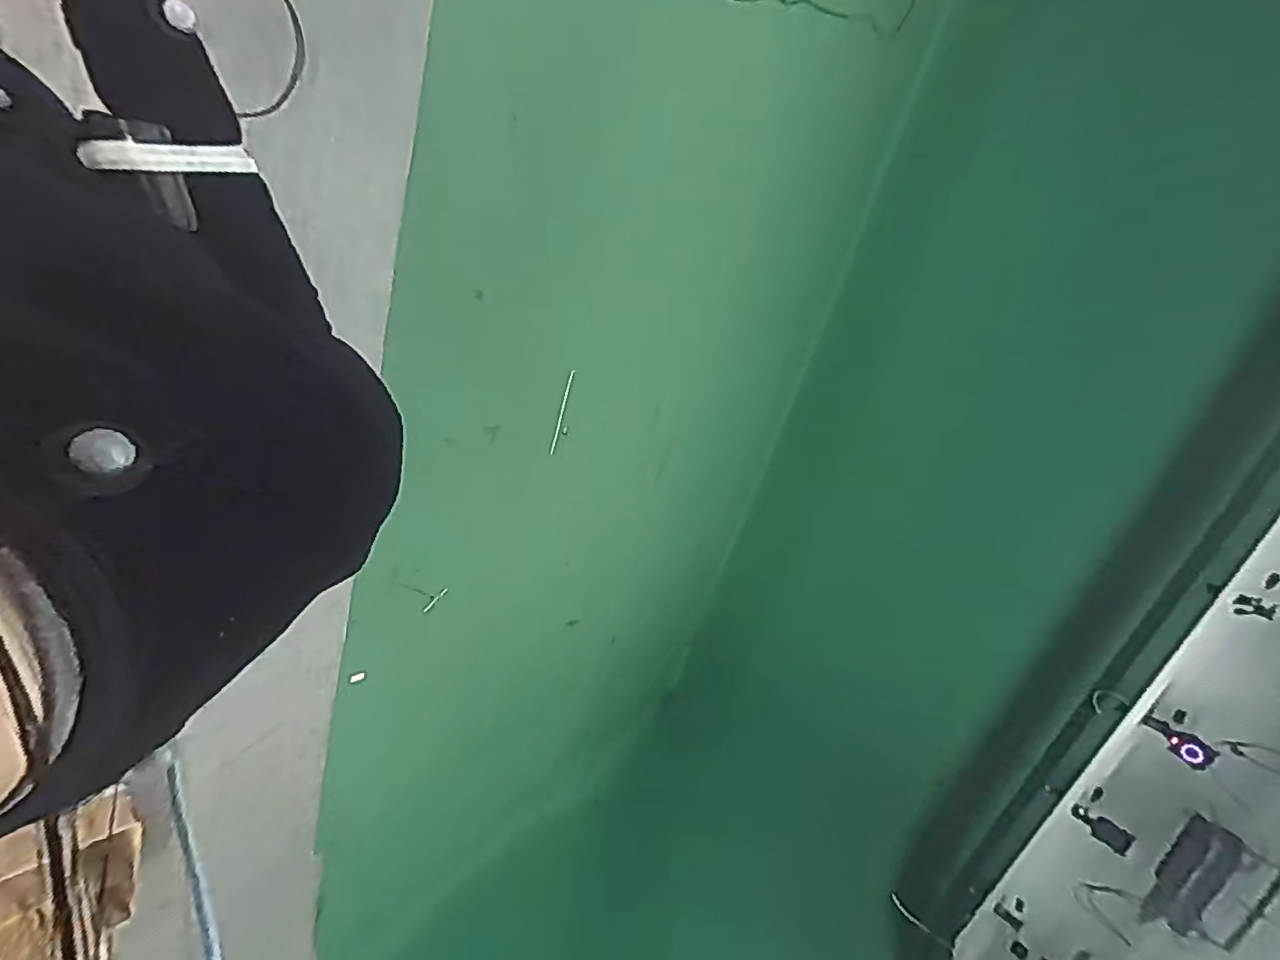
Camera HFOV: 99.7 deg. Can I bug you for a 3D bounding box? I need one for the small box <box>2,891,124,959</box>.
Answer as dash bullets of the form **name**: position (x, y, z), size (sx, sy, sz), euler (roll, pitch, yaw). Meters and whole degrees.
- **small box**: position (-1.354, 1.134, 1.273), size (0.179, 0.176, 0.168), euler (-8, 121, -51)
